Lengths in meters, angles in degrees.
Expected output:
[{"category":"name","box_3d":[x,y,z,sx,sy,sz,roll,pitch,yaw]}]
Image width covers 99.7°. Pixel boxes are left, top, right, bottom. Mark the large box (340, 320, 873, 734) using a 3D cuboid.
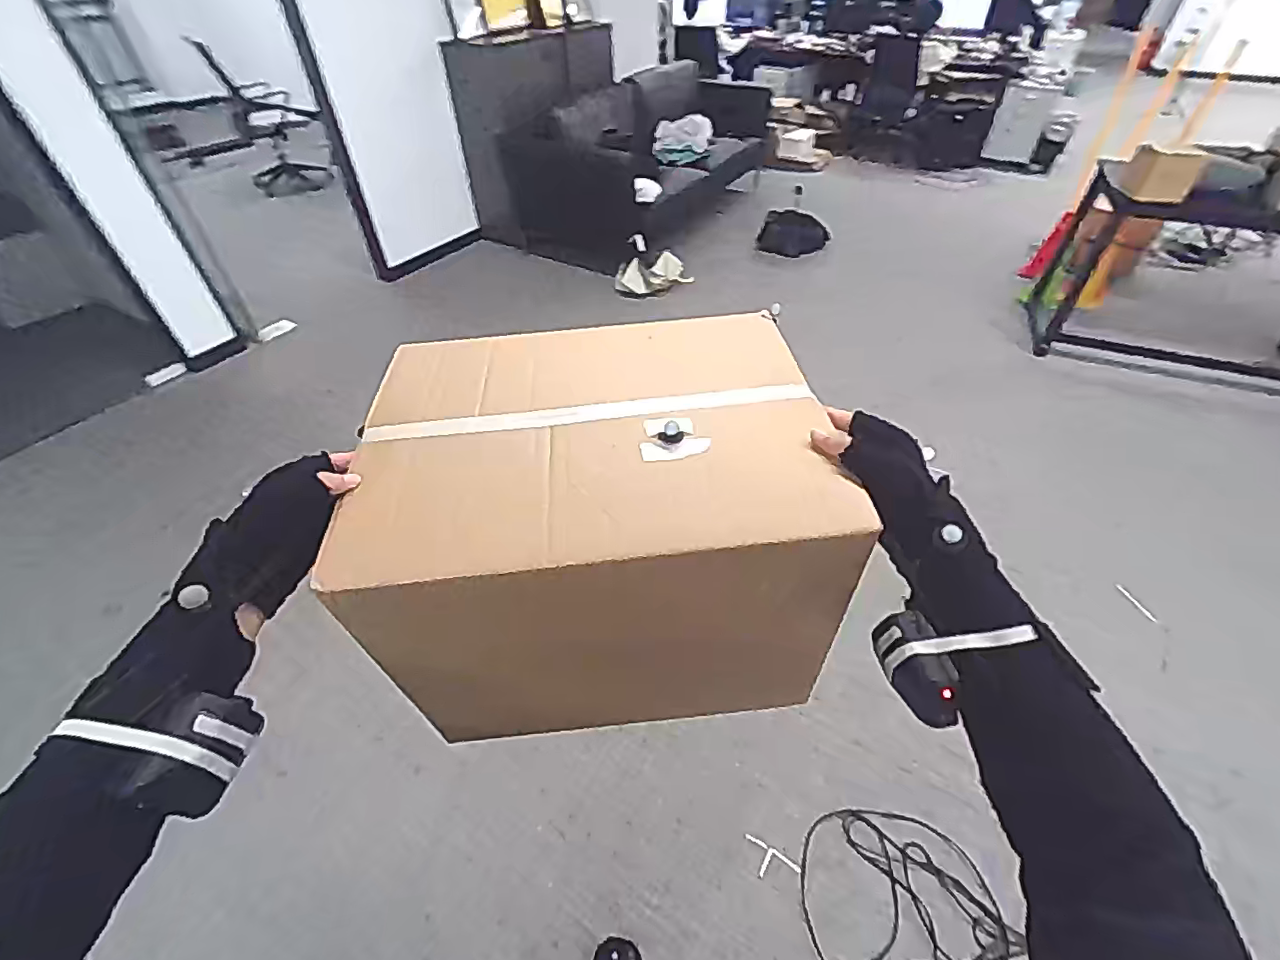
[{"category":"large box","box_3d":[-0.030,0.052,0.603,0.408,0.320,0.320,-6,47,-2]}]
